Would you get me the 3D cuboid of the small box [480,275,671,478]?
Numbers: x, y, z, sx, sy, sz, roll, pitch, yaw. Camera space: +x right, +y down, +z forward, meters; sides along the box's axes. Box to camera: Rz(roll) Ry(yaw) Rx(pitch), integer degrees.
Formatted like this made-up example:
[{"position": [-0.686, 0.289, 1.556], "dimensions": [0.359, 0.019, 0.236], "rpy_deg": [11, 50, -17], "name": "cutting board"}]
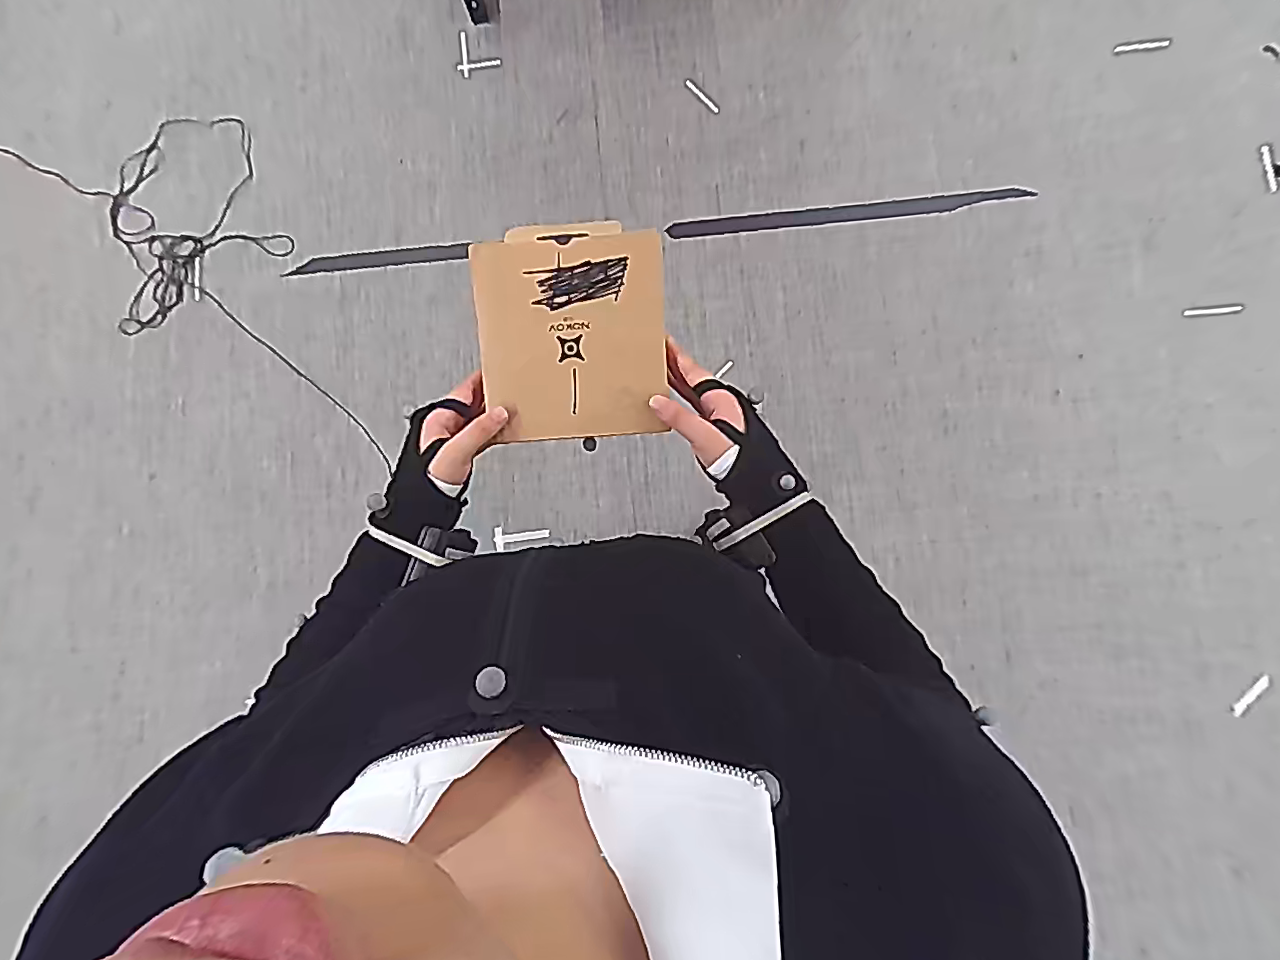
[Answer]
[{"position": [-0.056, -0.099, 0.567], "dimensions": [0.168, 0.176, 0.179], "rpy_deg": [-4, 96, 2], "name": "small box"}]
